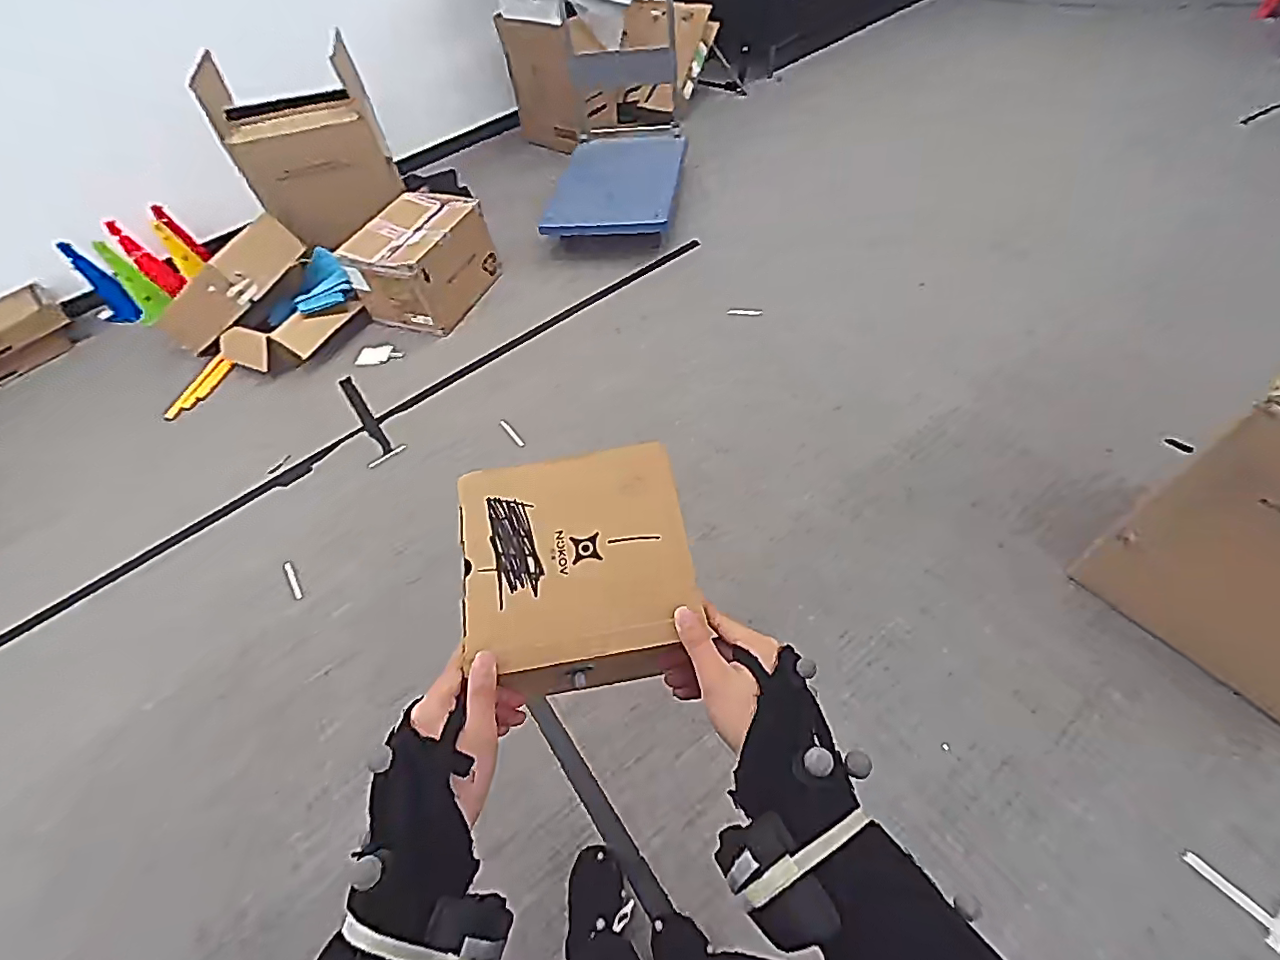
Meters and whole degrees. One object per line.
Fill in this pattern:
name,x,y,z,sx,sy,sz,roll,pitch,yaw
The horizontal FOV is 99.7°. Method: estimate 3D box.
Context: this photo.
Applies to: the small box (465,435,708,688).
small box,-0.045,0.083,0.489,0.179,0.176,0.168,-9,64,-4
